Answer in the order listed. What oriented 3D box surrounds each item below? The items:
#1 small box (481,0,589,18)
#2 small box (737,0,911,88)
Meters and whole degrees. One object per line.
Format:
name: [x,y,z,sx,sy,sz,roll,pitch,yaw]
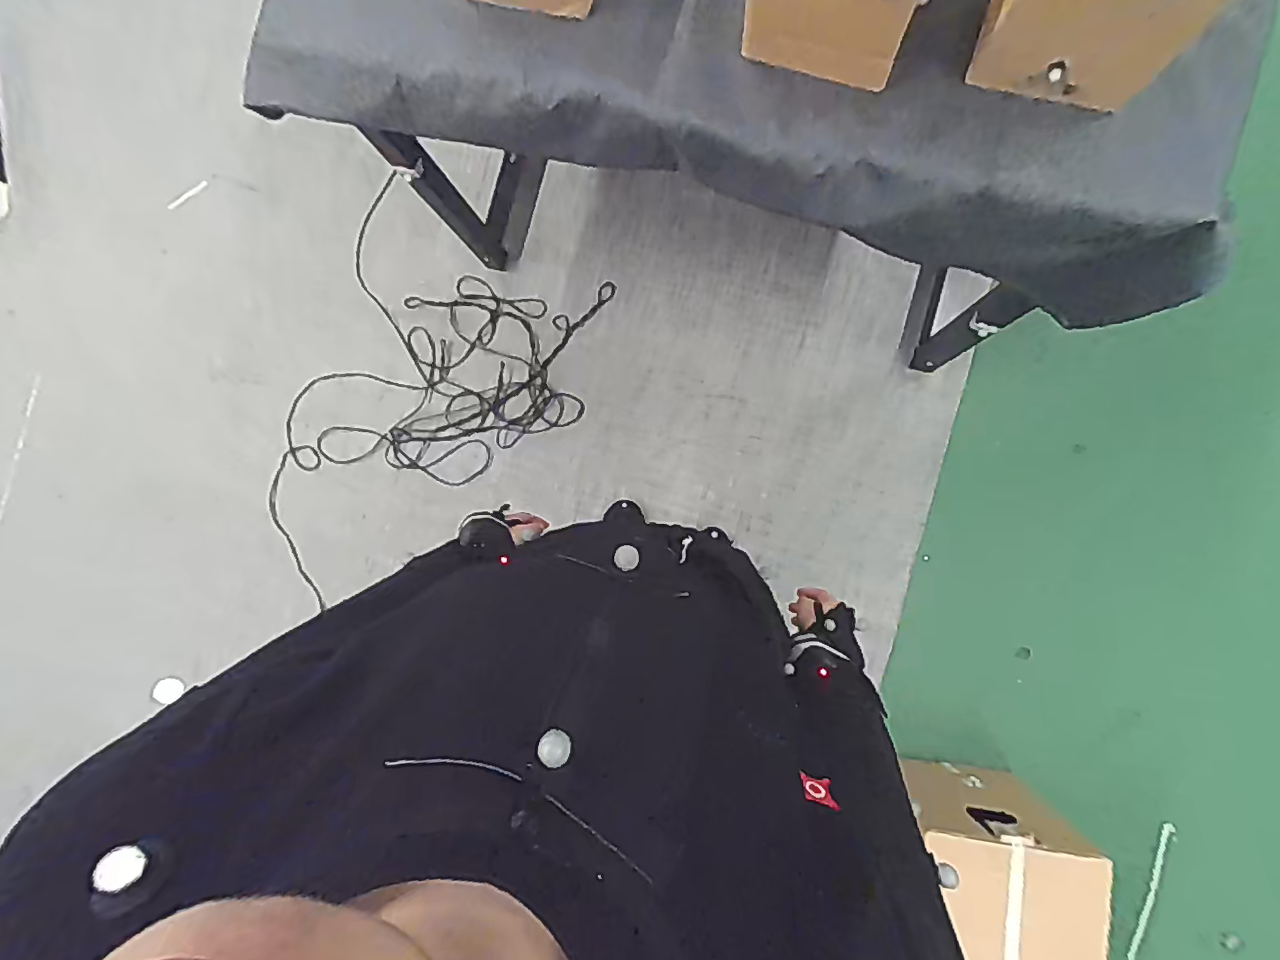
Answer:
small box: [-0.140,-0.679,0.612,0.179,0.176,0.168,16,90,6]
small box: [0.211,-0.560,0.566,0.179,0.176,0.168,20,89,7]
